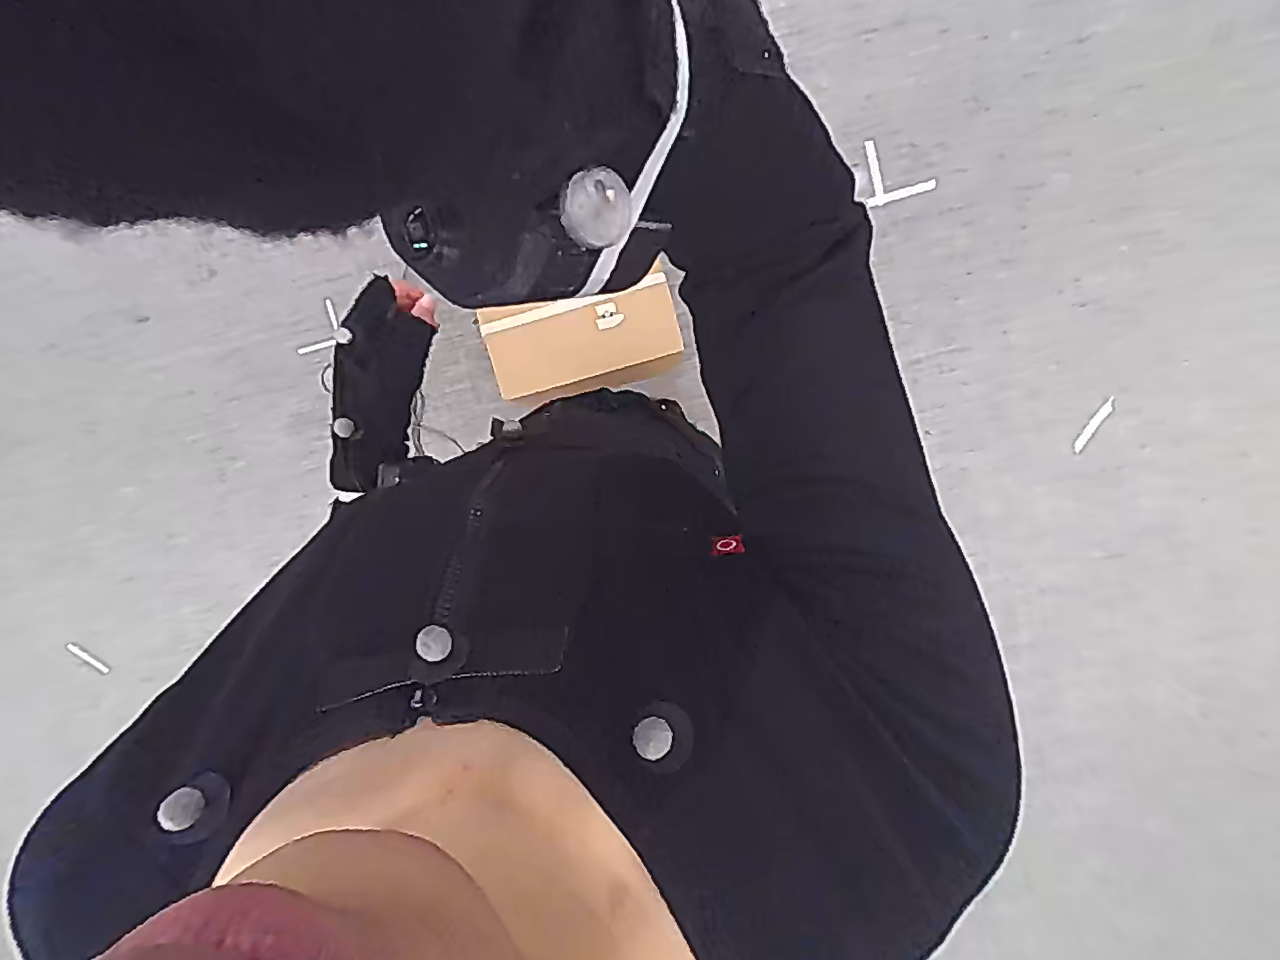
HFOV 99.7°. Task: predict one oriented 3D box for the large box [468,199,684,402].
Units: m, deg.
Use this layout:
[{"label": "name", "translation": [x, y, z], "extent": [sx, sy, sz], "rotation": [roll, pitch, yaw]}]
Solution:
[{"label": "large box", "translation": [-0.133, -0.397, 1.293], "extent": [0.408, 0.320, 0.320], "rotation": [-15, 95, 3]}]
